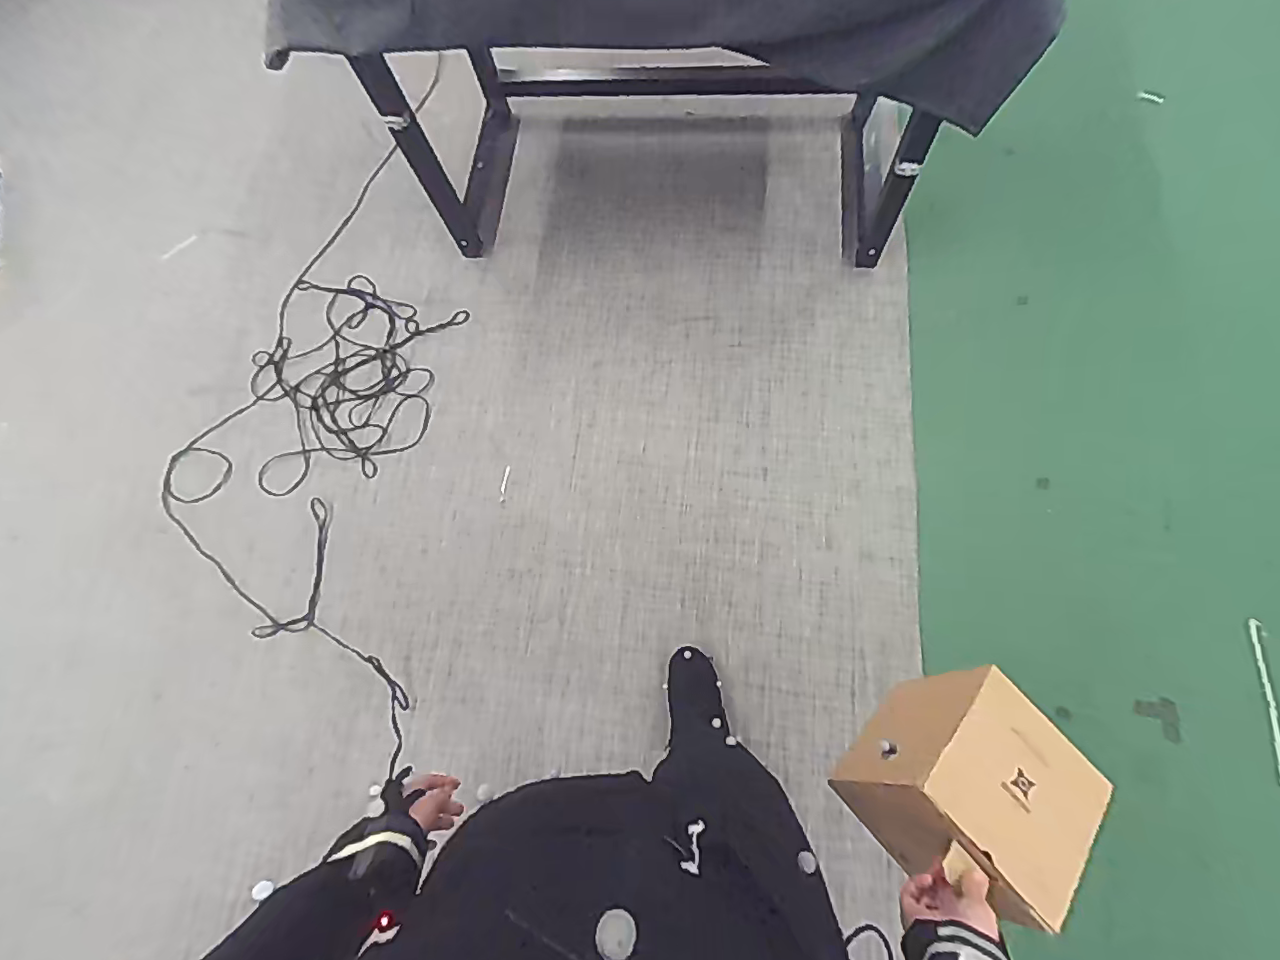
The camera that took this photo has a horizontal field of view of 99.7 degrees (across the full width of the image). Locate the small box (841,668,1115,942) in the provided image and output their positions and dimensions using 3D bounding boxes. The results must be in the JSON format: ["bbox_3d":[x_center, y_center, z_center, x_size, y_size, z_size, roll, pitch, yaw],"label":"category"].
[{"bbox_3d":[0.356,0.342,0.599,0.179,0.176,0.168,-37,79,-30],"label":"small box"}]
